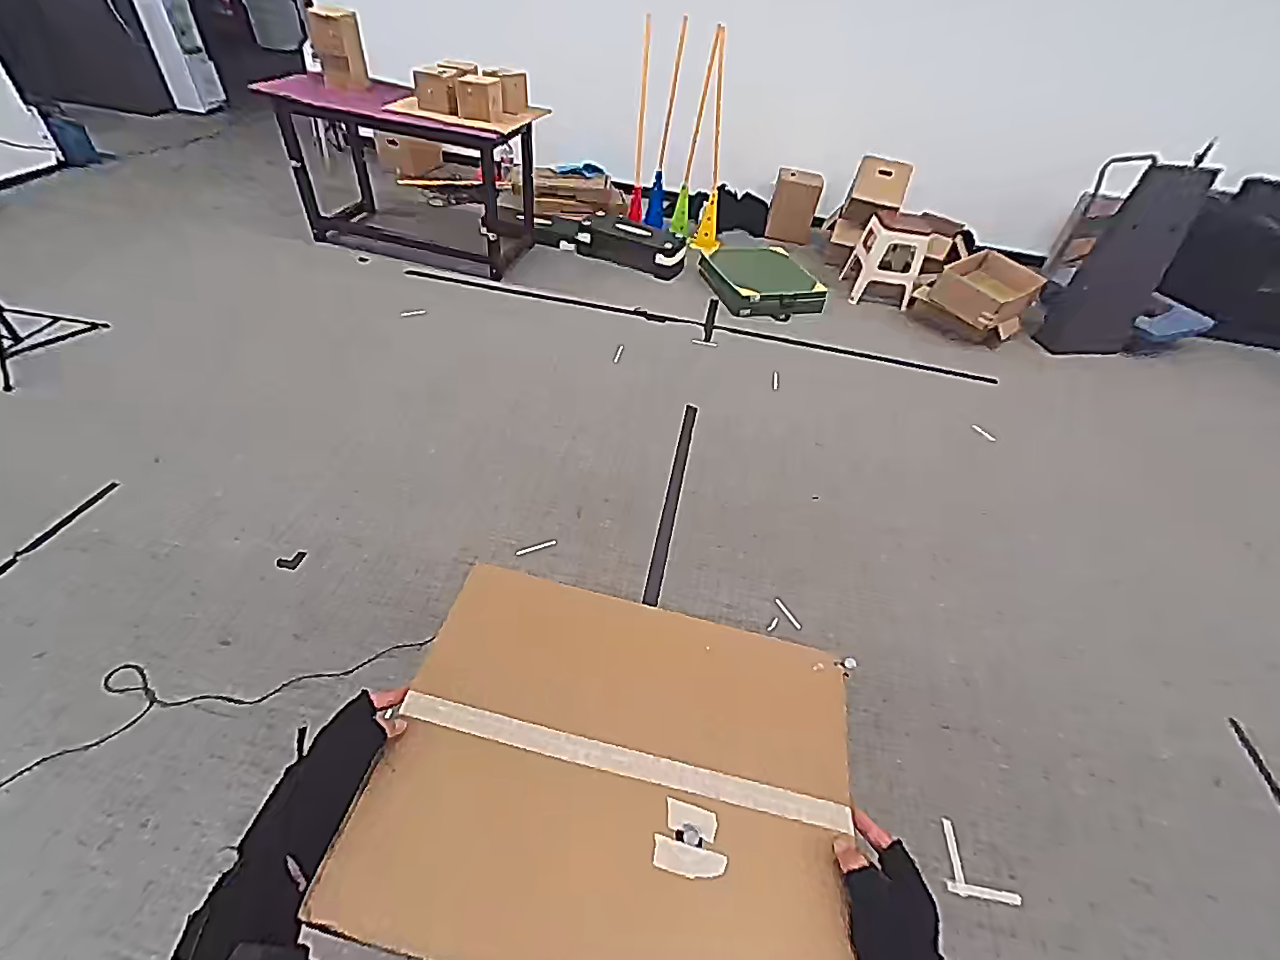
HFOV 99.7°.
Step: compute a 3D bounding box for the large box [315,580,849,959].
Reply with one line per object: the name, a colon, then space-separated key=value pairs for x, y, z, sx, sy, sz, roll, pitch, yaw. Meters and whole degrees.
large box: x=-0.035 y=0.359 z=0.588 sx=0.408 sy=0.320 sz=0.320 roll=14 pitch=48 yaw=3
